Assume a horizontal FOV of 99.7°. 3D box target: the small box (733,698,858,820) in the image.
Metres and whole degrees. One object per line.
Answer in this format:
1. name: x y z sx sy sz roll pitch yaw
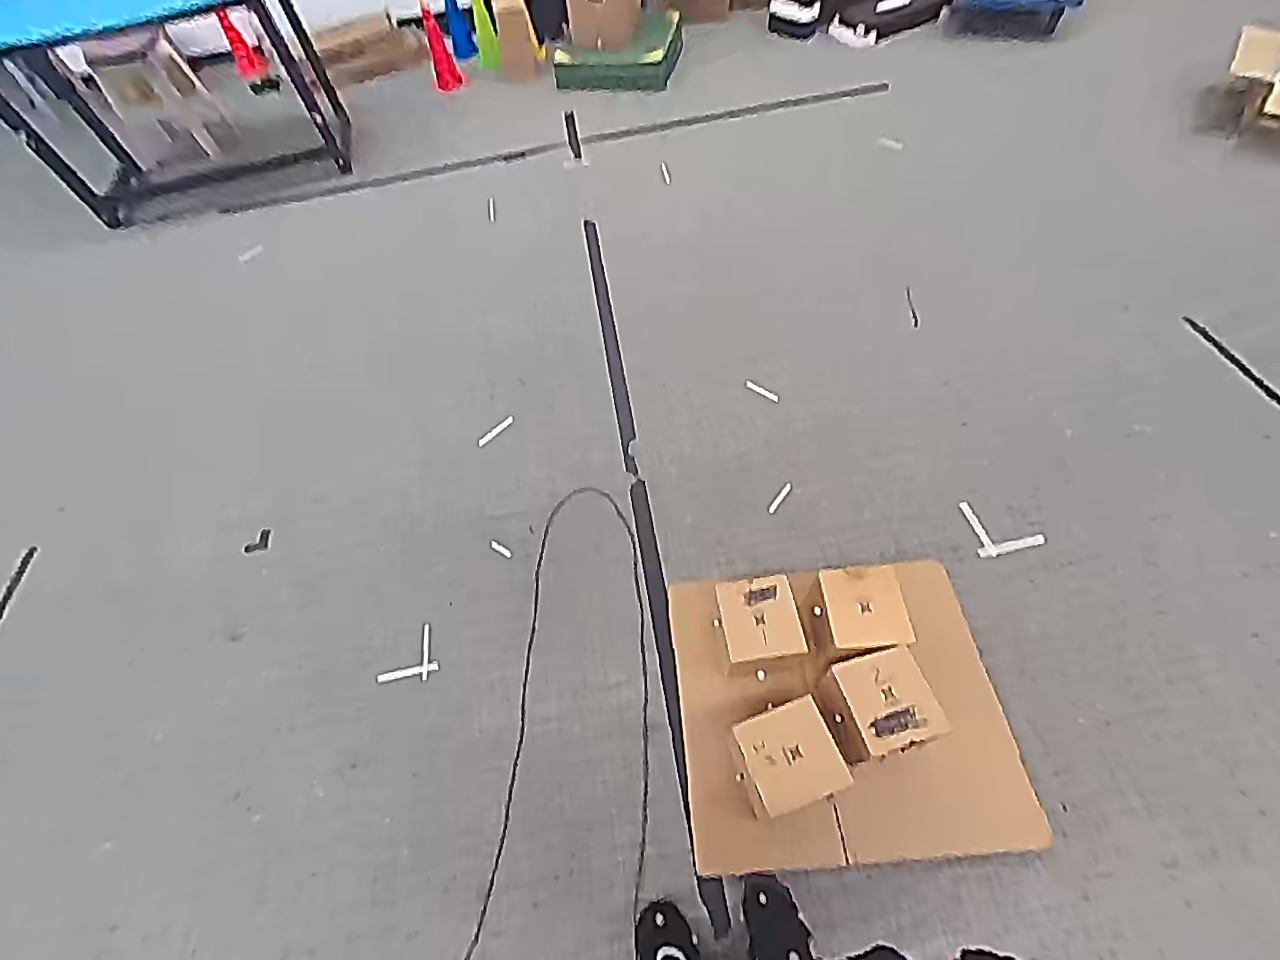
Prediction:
1. small box: 0.301 0.564 1.090 0.179 0.176 0.168 -19 56 -6

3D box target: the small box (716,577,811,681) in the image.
1. small box: 0.272 0.344 1.238 0.168 0.176 0.179 -9 57 0
